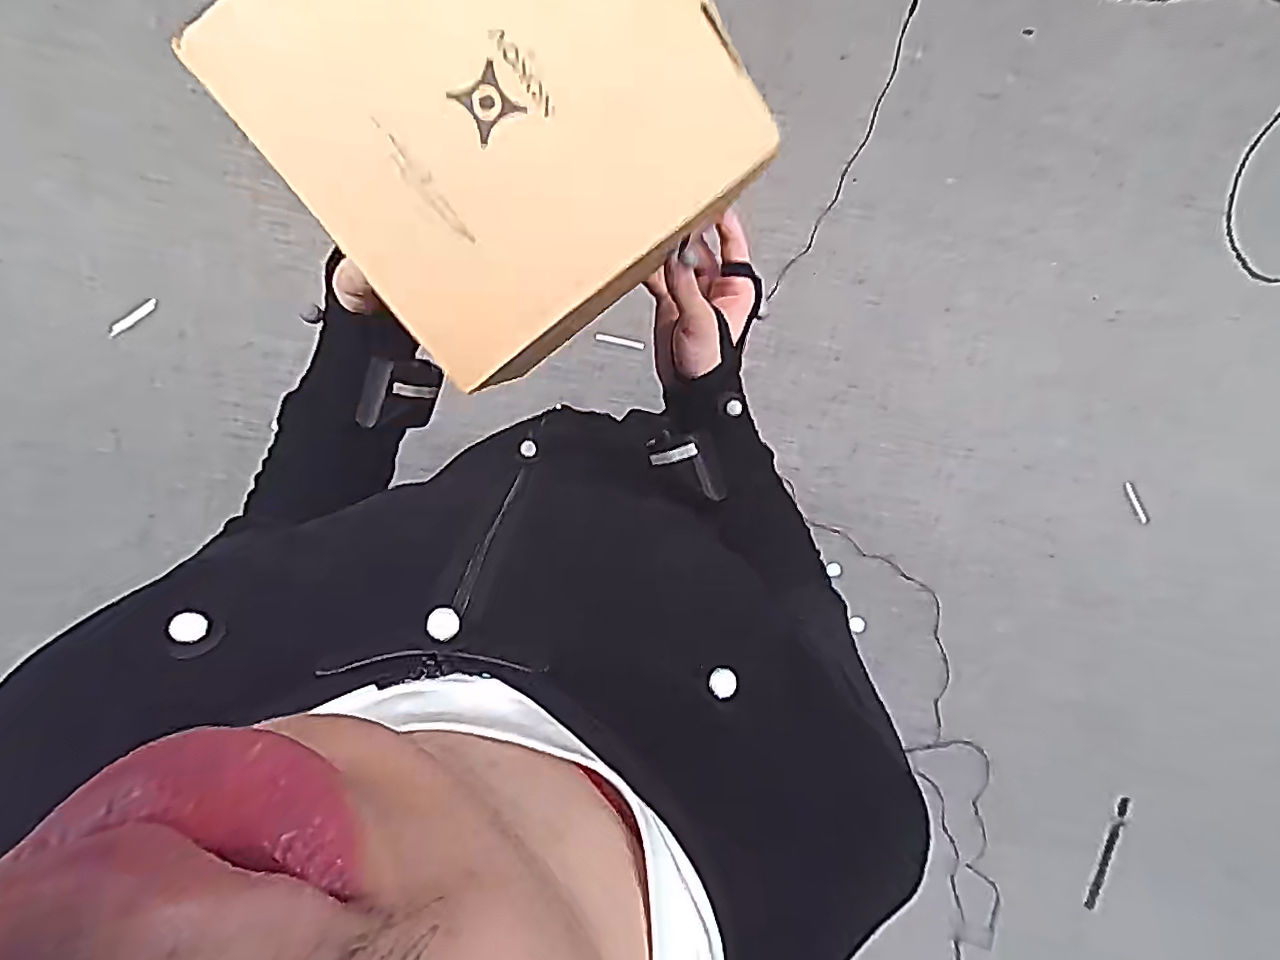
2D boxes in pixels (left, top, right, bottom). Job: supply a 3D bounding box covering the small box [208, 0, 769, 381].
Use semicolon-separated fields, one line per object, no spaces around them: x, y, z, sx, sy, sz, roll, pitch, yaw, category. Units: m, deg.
-0.064;-0.176;0.304;0.179;0.176;0.168;-38;102;5;small box
